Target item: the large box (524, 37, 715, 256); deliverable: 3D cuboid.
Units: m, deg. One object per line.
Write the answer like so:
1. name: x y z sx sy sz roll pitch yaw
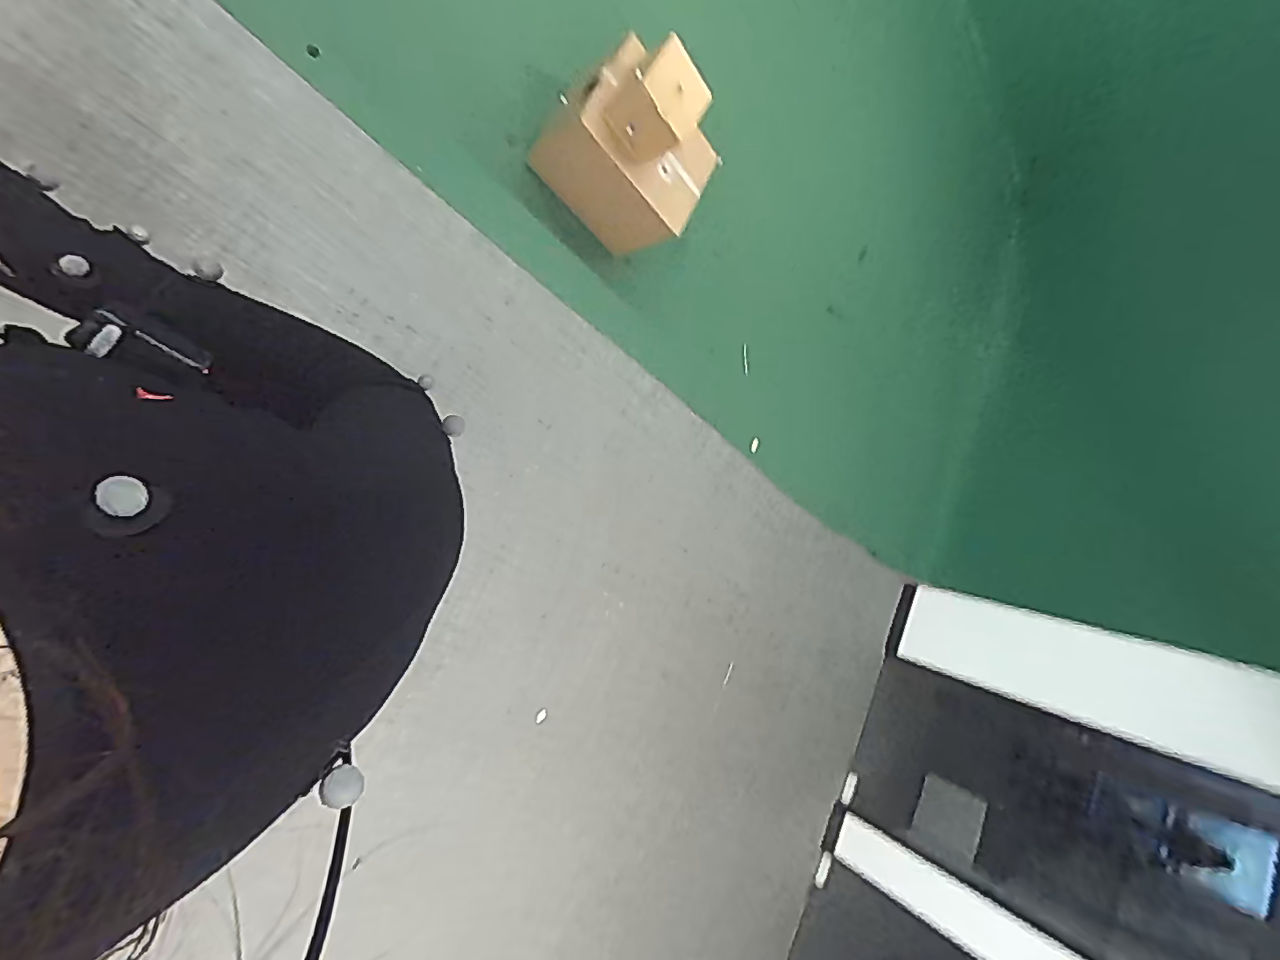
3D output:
1. large box: -0.058 -0.947 1.597 0.408 0.320 0.320 35 75 -38

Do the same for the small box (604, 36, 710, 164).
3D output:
1. small box: 0.039 -0.945 1.360 0.168 0.176 0.179 38 74 -37
